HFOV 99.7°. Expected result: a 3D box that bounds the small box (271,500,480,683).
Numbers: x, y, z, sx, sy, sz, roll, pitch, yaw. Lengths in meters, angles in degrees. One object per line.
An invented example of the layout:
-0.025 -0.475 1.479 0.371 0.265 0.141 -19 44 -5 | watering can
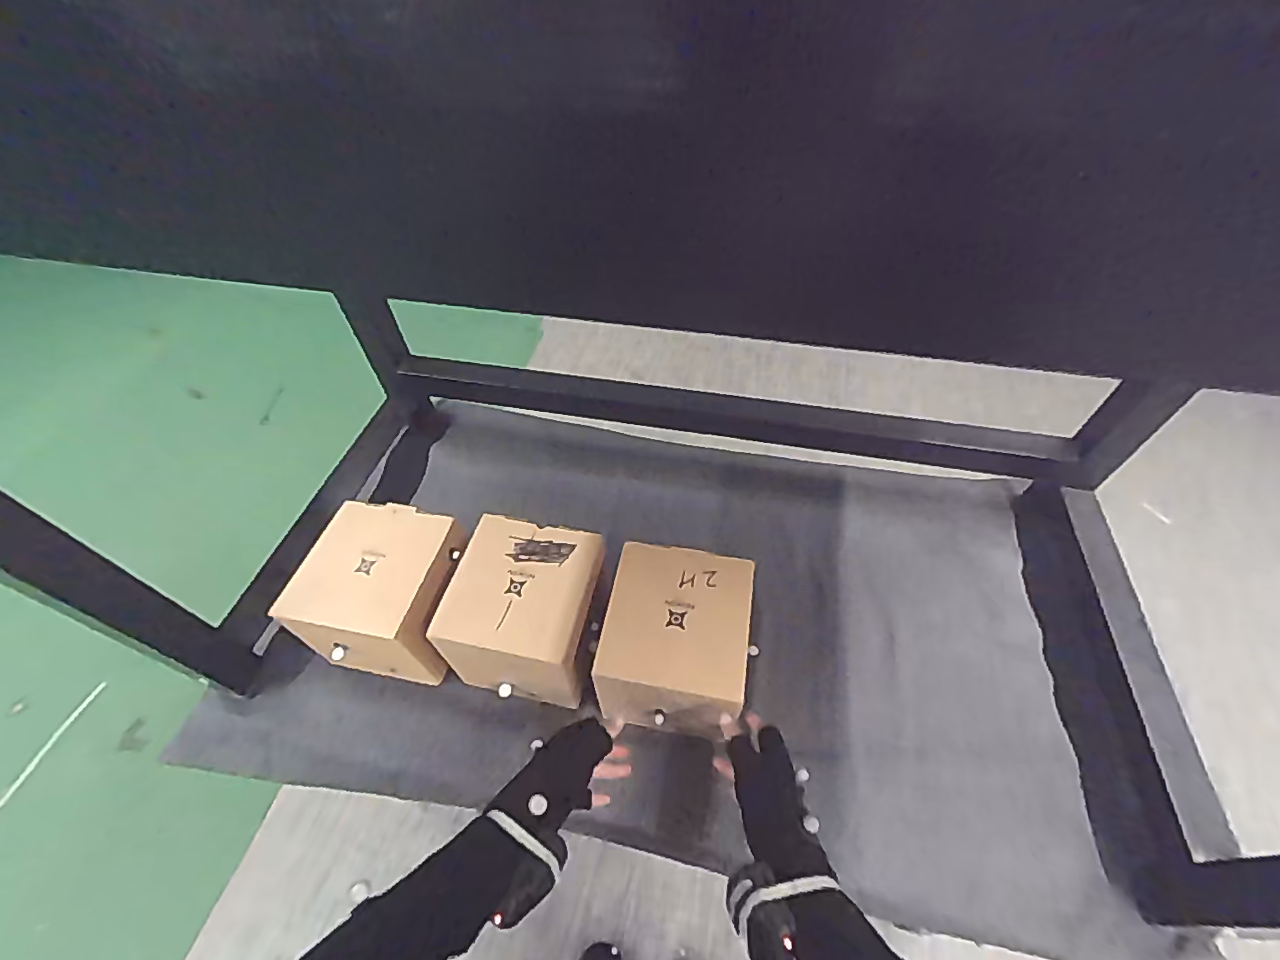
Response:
-0.338 0.155 0.738 0.168 0.176 0.179 8 51 8 | small box
